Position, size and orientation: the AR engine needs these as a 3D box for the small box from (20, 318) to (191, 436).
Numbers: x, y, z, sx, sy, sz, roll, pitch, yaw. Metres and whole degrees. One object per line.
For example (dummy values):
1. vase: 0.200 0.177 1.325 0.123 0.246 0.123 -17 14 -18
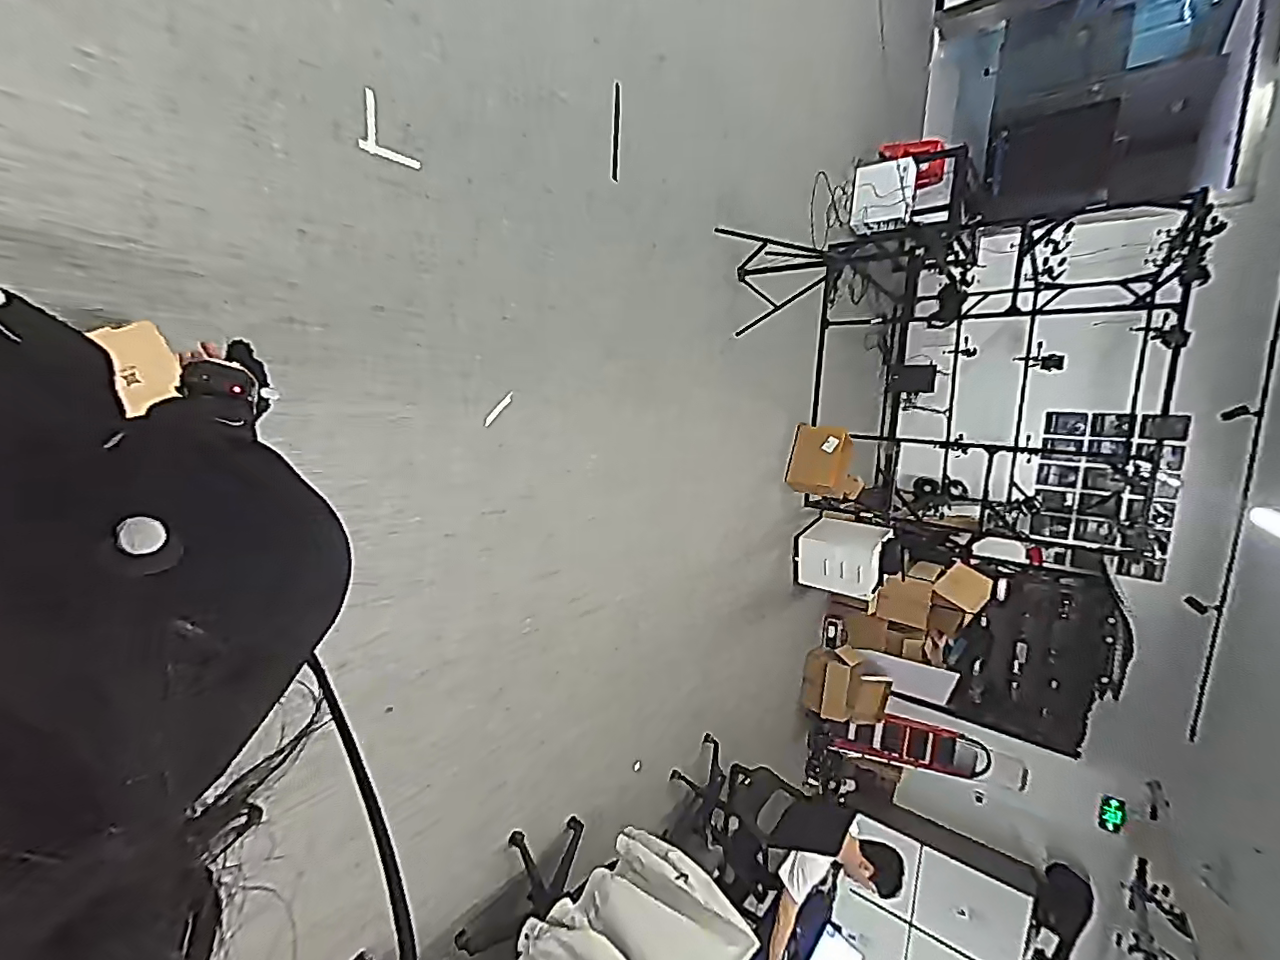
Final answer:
1. small box: -1.035 -0.202 1.048 0.168 0.176 0.179 -41 129 -39
